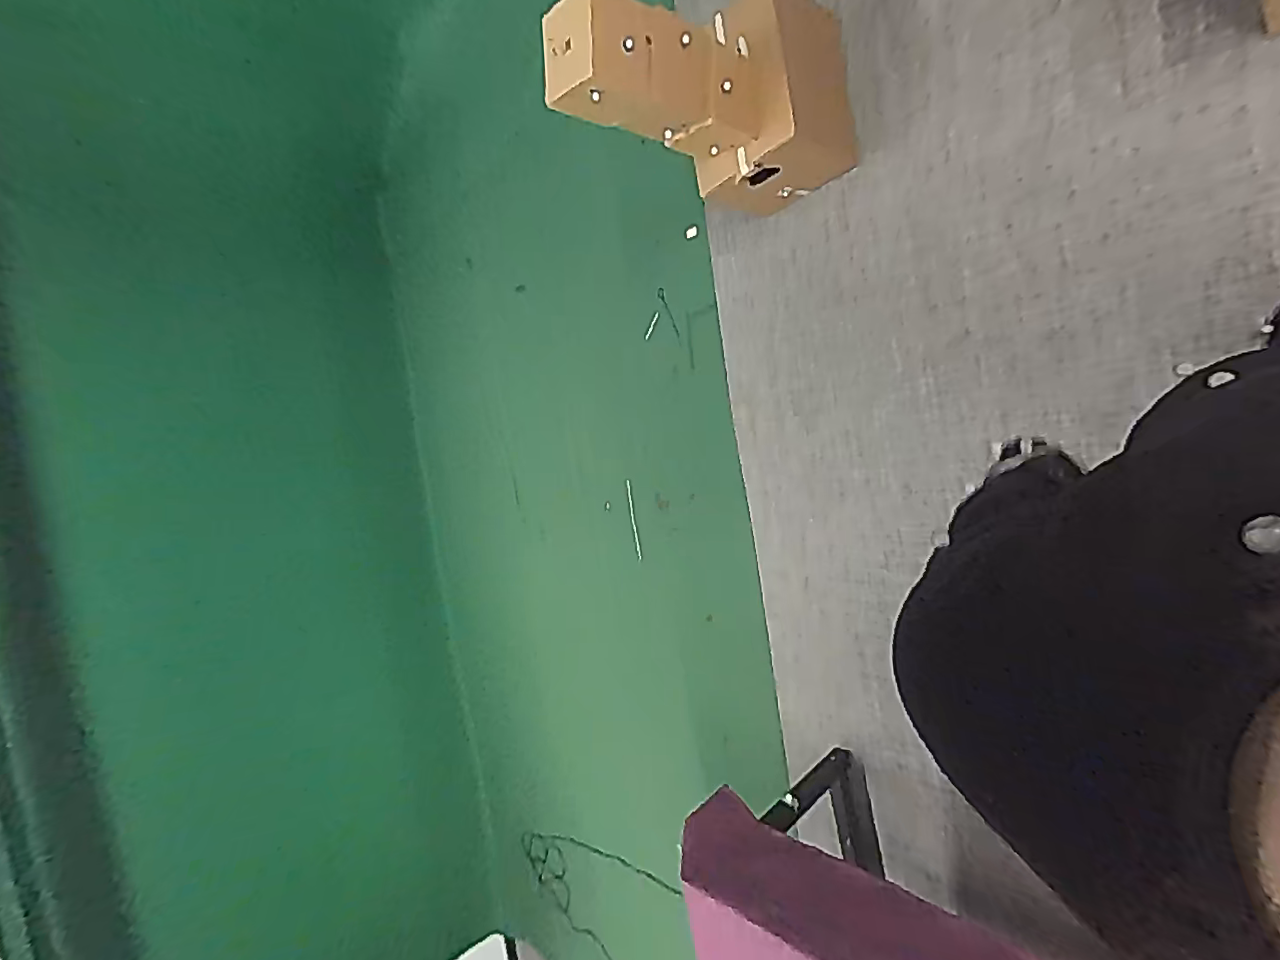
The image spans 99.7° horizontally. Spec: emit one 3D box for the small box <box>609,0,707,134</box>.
[{"bbox_3d":[0.039,-0.920,1.223,0.168,0.176,0.179,14,111,48],"label":"small box"}]

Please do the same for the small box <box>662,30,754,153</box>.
[{"bbox_3d":[0.166,-0.938,1.324,0.168,0.176,0.179,9,106,48],"label":"small box"}]

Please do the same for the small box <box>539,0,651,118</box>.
[{"bbox_3d":[-0.089,-0.888,1.125,0.179,0.176,0.168,15,110,47],"label":"small box"}]

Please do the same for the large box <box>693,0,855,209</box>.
[{"bbox_3d":[0.342,-1.028,1.474,0.320,0.320,0.408,-8,92,50],"label":"large box"}]
